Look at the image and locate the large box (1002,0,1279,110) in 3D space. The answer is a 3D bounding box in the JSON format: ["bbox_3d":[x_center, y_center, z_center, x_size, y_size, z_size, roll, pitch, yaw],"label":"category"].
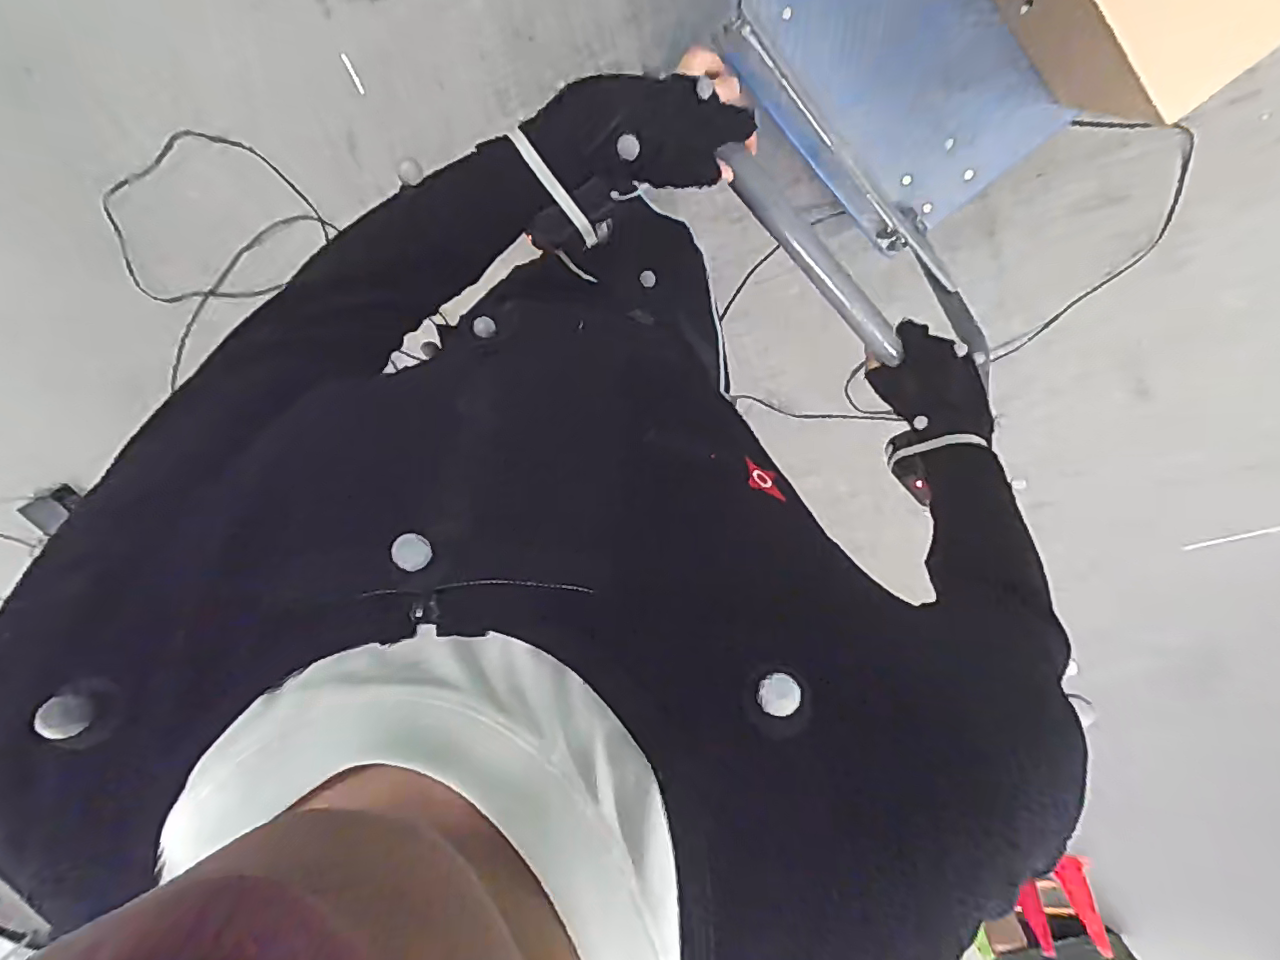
[{"bbox_3d":[0.634,-0.749,0.654,0.408,0.320,0.320,38,126,-17],"label":"large box"}]
